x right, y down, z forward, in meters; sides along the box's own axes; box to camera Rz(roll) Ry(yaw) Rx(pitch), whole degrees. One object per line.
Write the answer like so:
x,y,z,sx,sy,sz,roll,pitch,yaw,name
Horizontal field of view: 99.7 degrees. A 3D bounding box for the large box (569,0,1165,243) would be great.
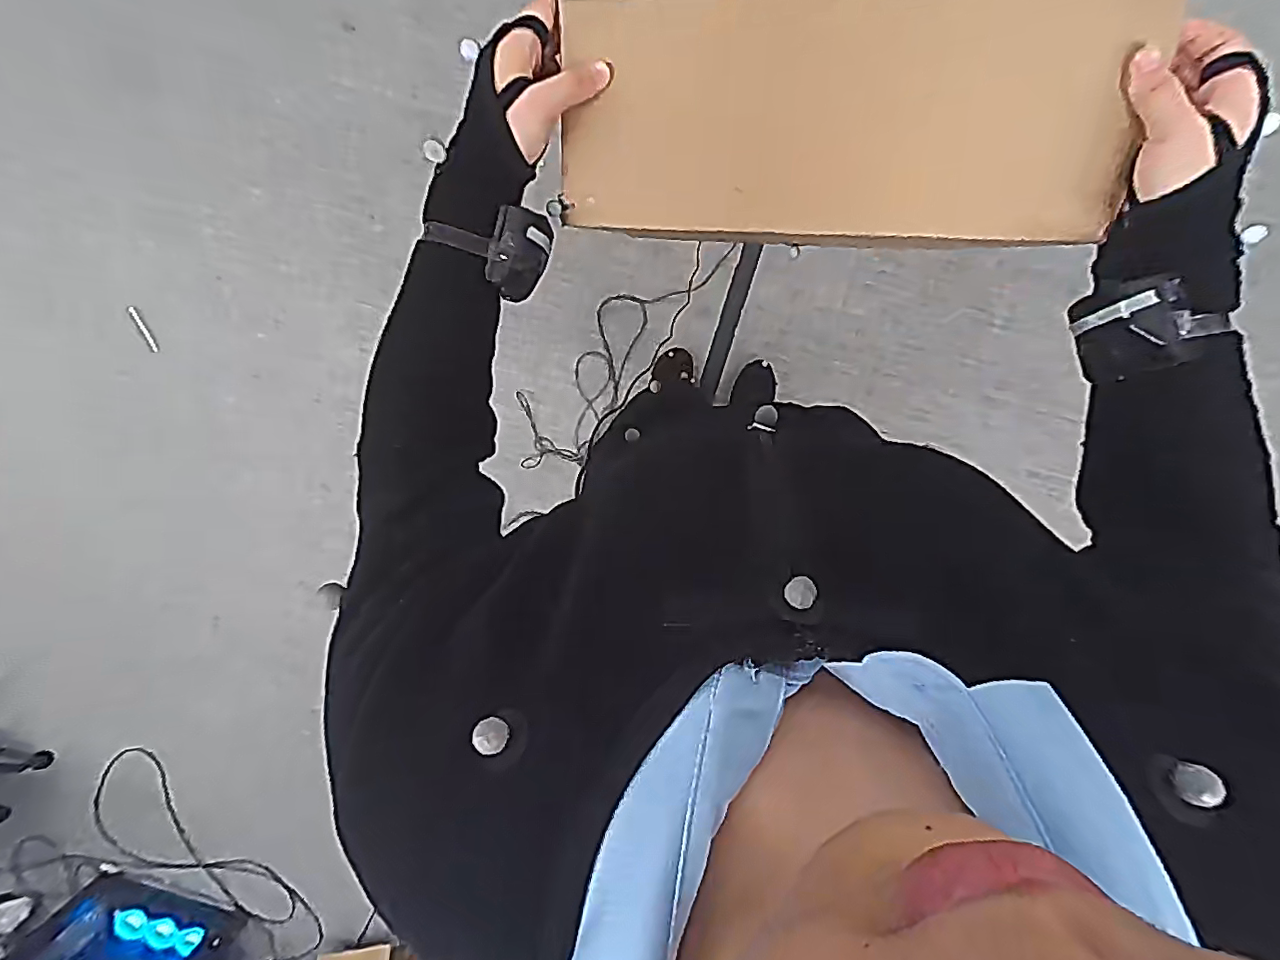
0.169,-0.392,0.504,0.408,0.320,0.320,6,112,9,large box
